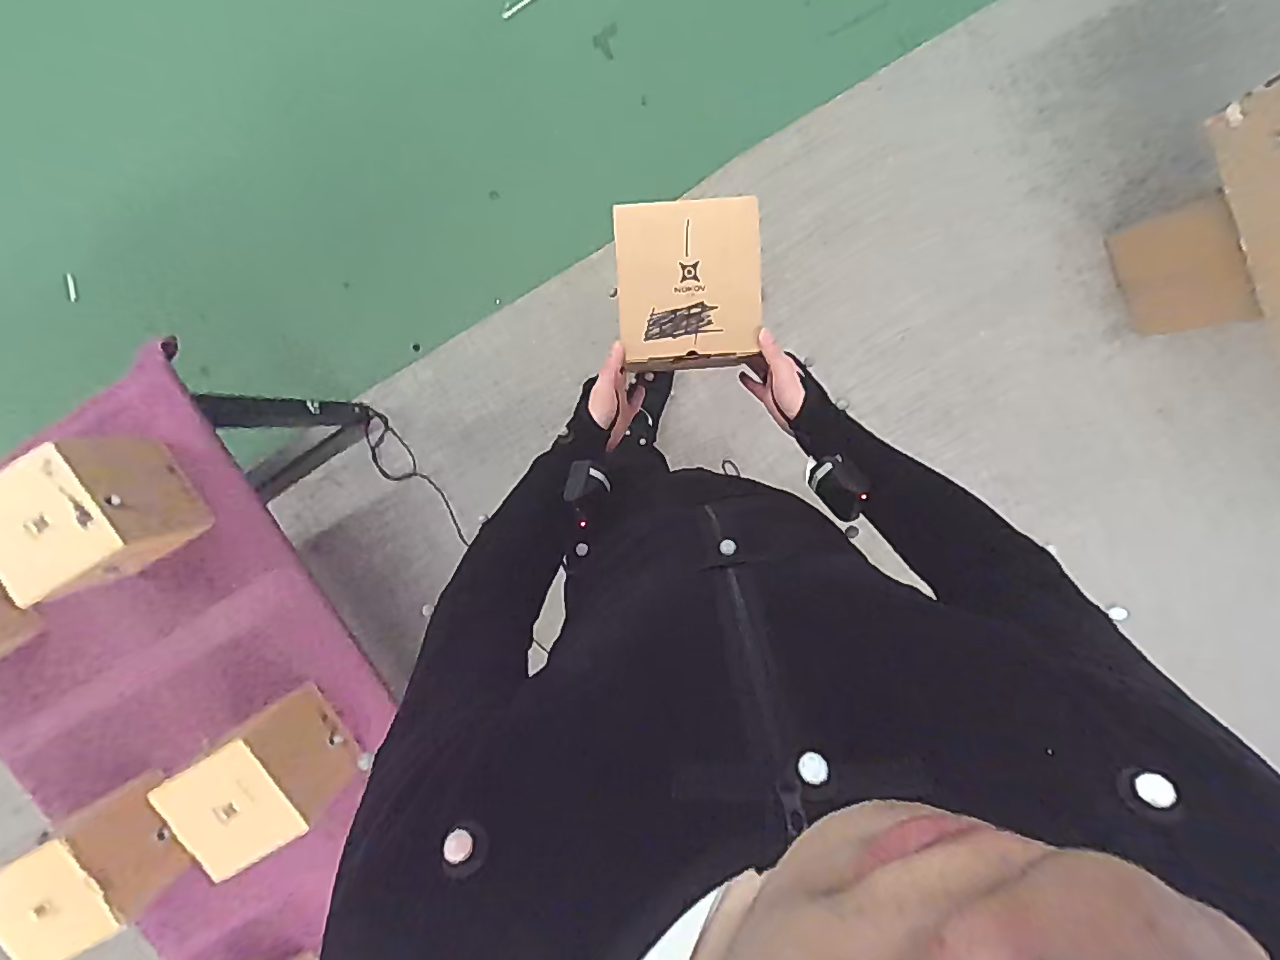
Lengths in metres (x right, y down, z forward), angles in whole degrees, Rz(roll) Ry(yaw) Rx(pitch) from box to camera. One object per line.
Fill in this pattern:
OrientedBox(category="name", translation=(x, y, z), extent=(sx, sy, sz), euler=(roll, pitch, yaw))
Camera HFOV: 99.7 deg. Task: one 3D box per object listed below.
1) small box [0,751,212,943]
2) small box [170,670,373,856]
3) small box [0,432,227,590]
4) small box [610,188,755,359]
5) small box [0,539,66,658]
OrientedBox(category="small box", translation=(-0.870, 0.604, 0.911), extent=(0.179, 0.176, 0.168), euler=(-29, 95, 3))
OrientedBox(category="small box", translation=(-0.585, 0.449, 0.882), extent=(0.179, 0.176, 0.168), euler=(-31, 96, 6))
OrientedBox(category="small box", translation=(-0.806, 0.039, 0.835), extent=(0.179, 0.176, 0.168), euler=(-30, 97, 5))
OrientedBox(category="small box", translation=(0.054, -0.251, 0.701), extent=(0.168, 0.176, 0.179), euler=(-3, 97, 2))
OrientedBox(category="small box", translation=(-1.110, 0.219, 0.865), extent=(0.179, 0.176, 0.168), euler=(-32, 98, 4))
